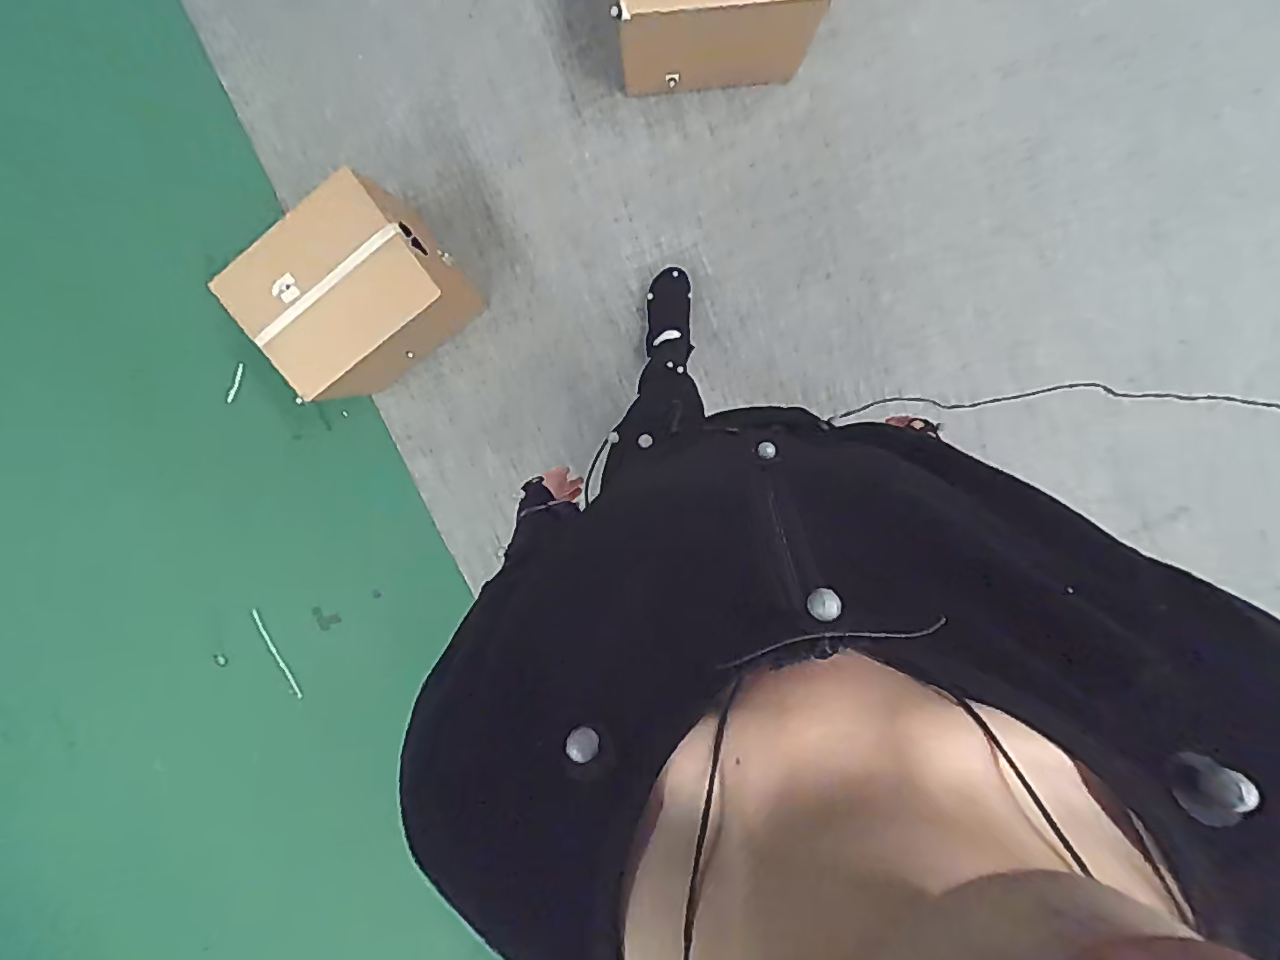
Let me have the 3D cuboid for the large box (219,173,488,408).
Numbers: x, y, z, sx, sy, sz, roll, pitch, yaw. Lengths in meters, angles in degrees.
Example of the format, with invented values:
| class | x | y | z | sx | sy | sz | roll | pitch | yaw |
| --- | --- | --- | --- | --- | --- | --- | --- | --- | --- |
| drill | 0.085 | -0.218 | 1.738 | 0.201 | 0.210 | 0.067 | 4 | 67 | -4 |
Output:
| class | x | y | z | sx | sy | sz | roll | pitch | yaw |
| --- | --- | --- | --- | --- | --- | --- | --- | --- | --- |
| large box | -0.647 | -0.423 | 1.289 | 0.408 | 0.320 | 0.320 | -34 | 98 | 9 |
